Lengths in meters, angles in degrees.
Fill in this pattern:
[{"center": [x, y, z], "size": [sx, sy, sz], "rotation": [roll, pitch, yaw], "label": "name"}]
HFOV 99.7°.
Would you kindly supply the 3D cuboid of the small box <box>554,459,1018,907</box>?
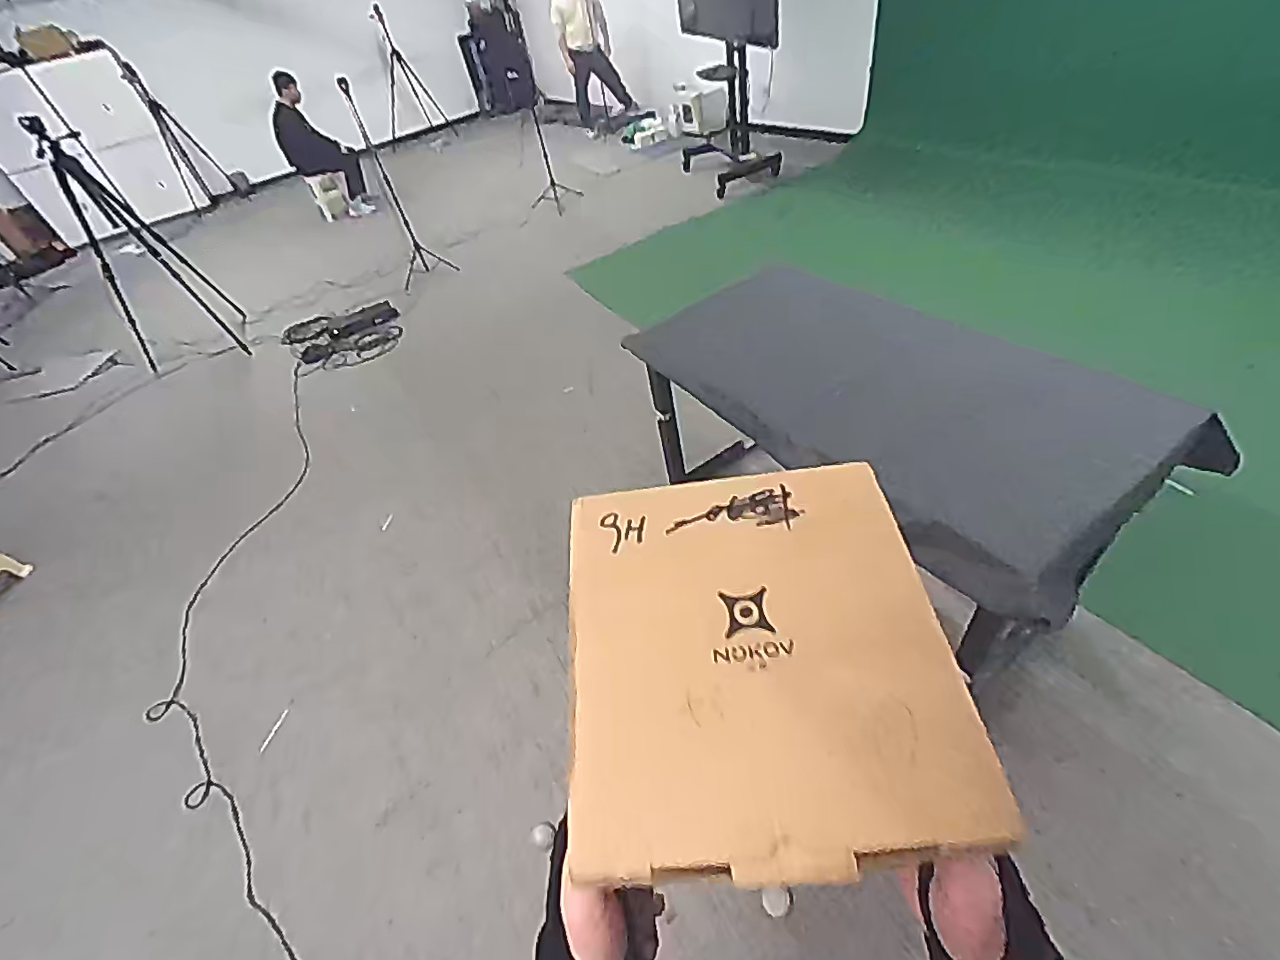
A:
[{"center": [0.052, 0.113, 0.300], "size": [0.168, 0.176, 0.179], "rotation": [-6, 55, 1], "label": "small box"}]
